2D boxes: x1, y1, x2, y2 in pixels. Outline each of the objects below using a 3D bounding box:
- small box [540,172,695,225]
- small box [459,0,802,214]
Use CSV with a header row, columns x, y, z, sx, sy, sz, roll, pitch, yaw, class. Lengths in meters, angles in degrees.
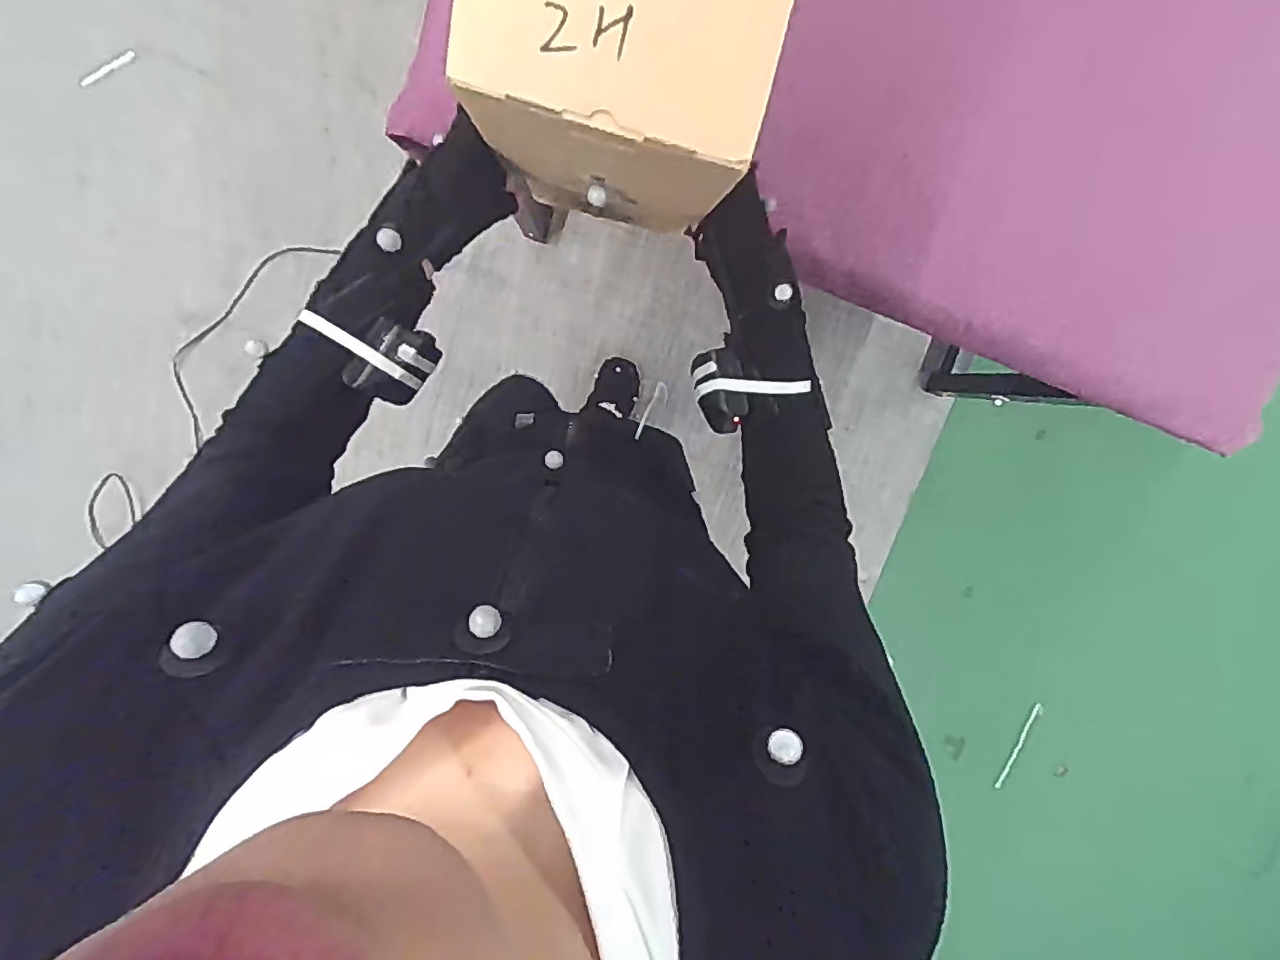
x,y,z,sx,sy,sz,roll,pitch,yaw,class
-0.005,-0.355,0.494,0.168,0.176,0.179,10,106,-7,small box
0.001,-0.293,0.340,0.168,0.176,0.179,12,106,-7,small box
